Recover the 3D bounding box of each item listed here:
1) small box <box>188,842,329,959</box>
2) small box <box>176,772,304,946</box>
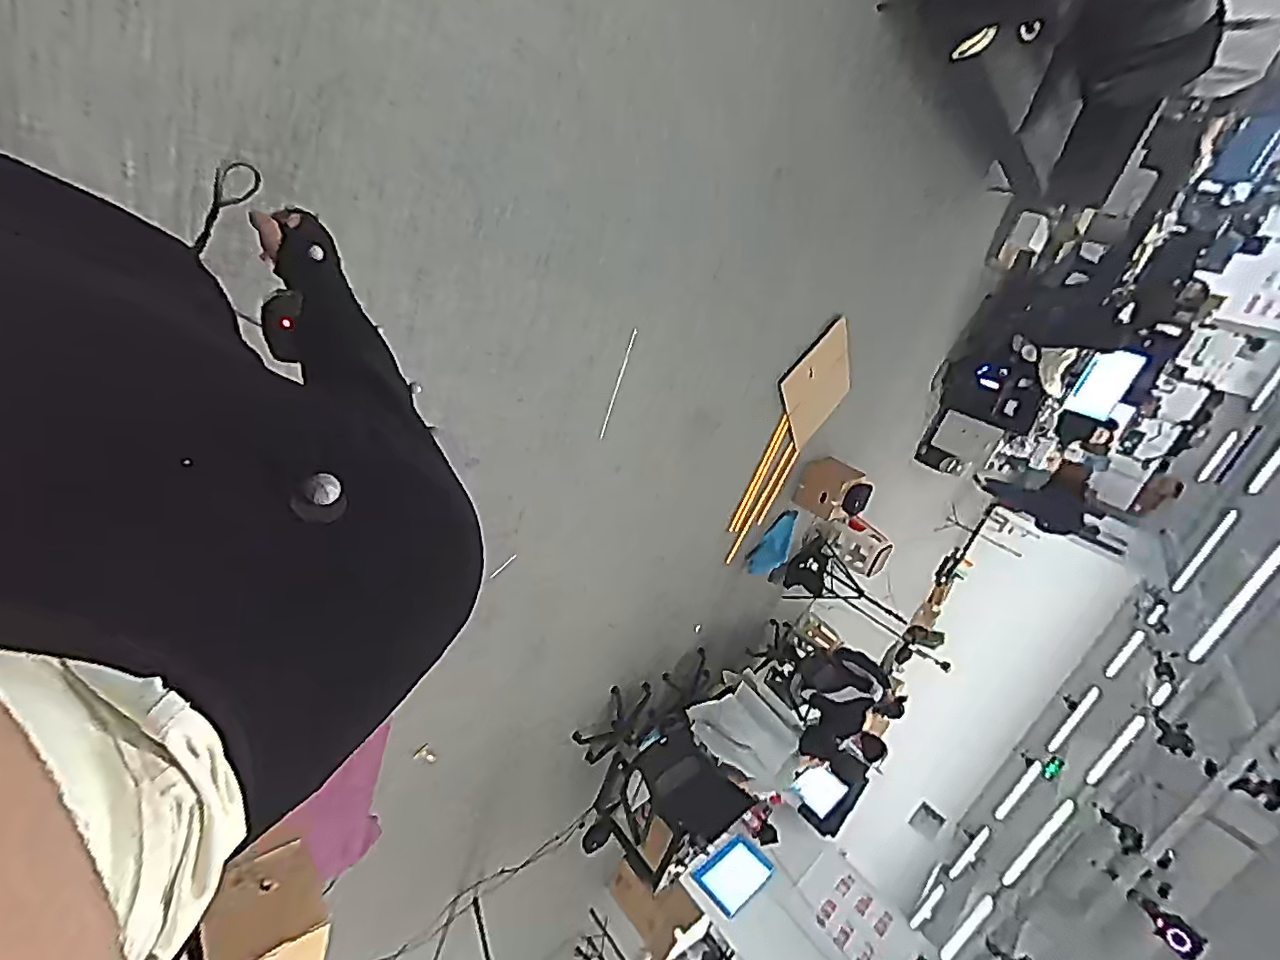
[{"bbox_3d":[-0.653,0.777,0.923,0.168,0.176,0.179,-3,119,-45],"label":"small box"},{"bbox_3d":[-0.758,0.702,1.022,0.168,0.176,0.179,-2,119,-46],"label":"small box"}]
